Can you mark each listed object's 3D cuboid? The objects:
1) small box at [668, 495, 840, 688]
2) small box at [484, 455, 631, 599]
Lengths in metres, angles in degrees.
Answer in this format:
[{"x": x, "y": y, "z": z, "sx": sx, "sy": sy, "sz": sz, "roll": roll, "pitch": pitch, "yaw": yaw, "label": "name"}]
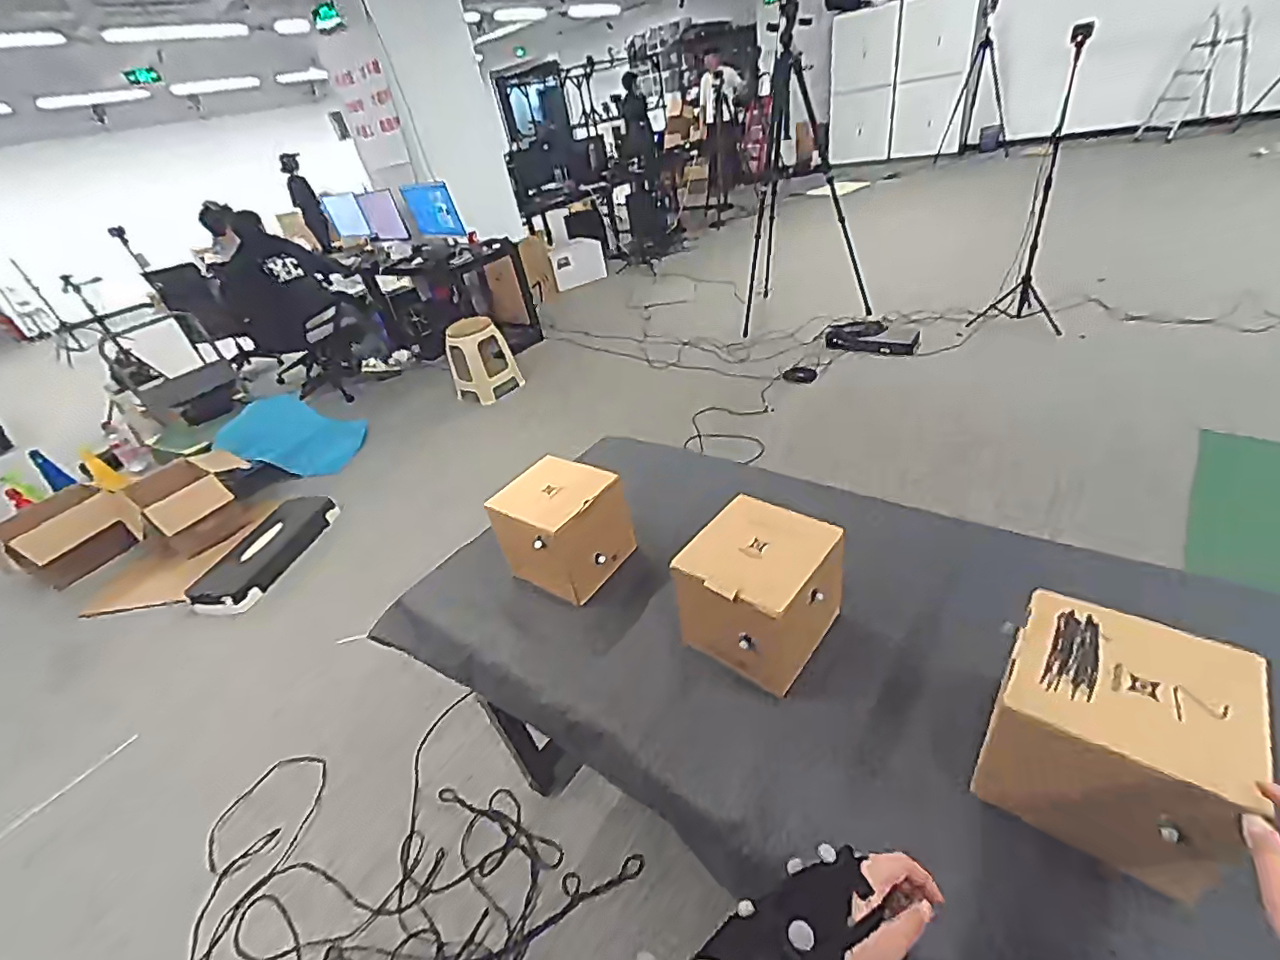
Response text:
[{"x": 0.165, "y": 0.154, "z": 0.762, "sx": 0.168, "sy": 0.176, "sz": 0.179, "roll": 21, "pitch": 45, "yaw": 37, "label": "small box"}, {"x": -0.138, "y": 0.082, "z": 0.957, "sx": 0.179, "sy": 0.176, "sz": 0.168, "roll": 16, "pitch": 43, "yaw": 33, "label": "small box"}]
